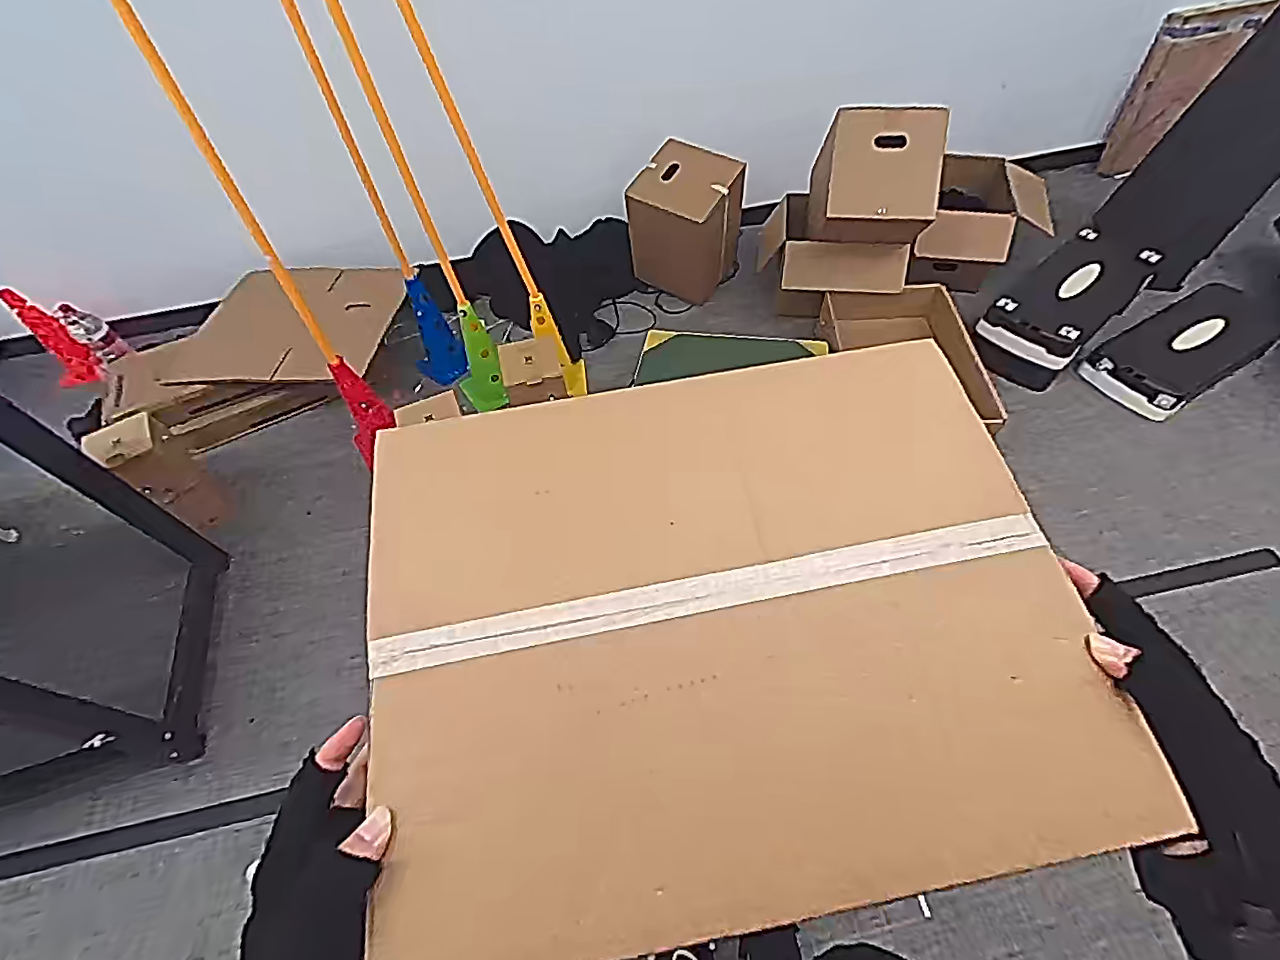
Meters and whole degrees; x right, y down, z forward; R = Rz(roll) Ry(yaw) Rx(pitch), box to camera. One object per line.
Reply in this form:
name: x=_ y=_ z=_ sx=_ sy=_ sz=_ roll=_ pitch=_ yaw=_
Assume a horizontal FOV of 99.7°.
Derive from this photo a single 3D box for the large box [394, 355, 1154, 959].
large box: x=0.051 y=0.140 z=0.468 sx=0.408 sy=0.320 sz=0.320 roll=-10 pitch=65 yaw=-3
